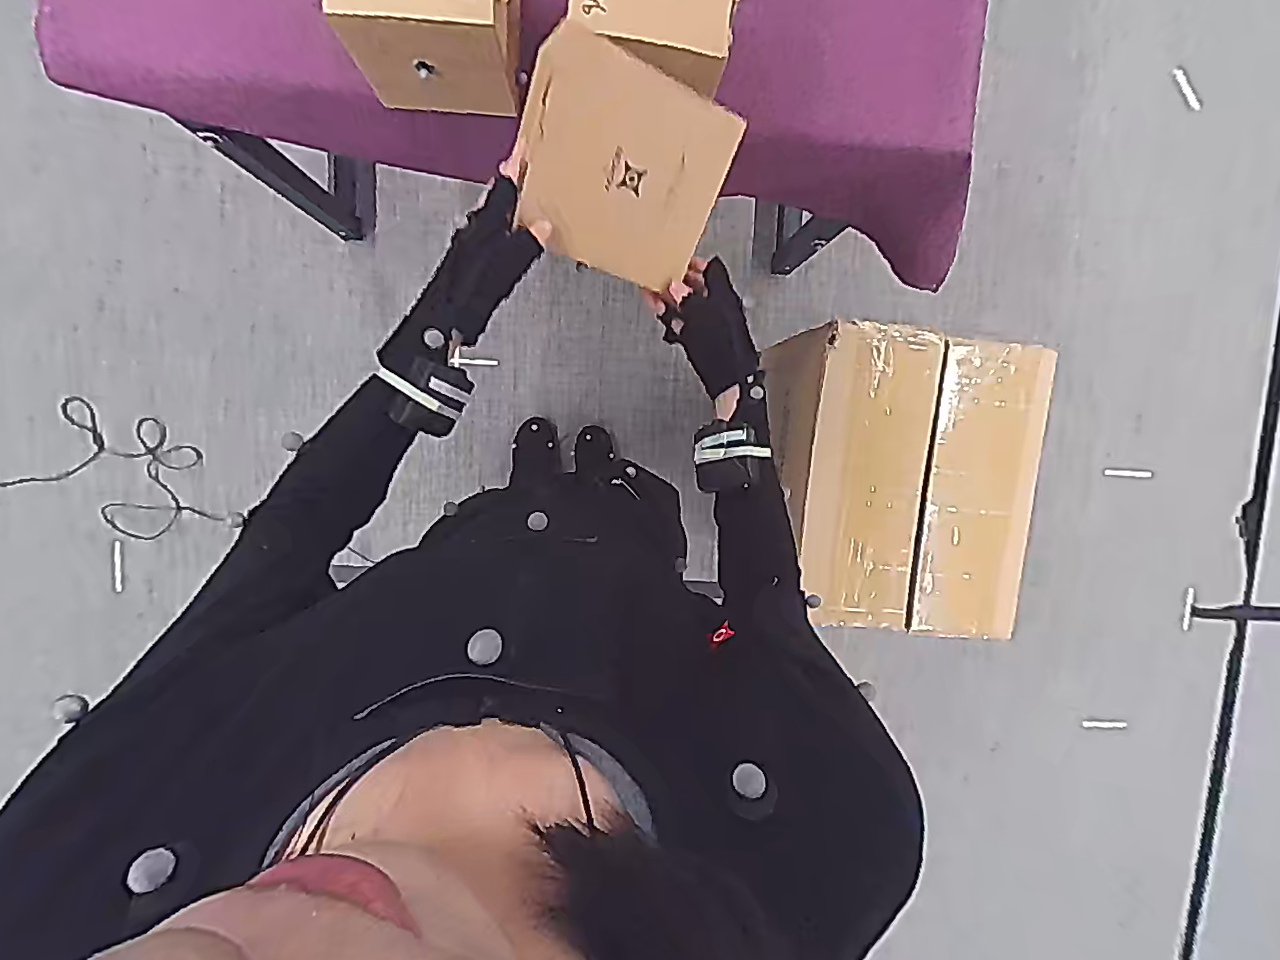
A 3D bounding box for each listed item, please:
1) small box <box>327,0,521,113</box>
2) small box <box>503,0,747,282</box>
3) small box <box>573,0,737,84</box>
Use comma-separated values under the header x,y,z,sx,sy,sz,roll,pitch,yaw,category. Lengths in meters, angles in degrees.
x,y,z,sx,sy,sz,roll,pitch,yaw,category
-0.236,-0.561,0.629,0.179,0.176,0.168,1,95,-4,small box
-0.032,-0.322,0.539,0.179,0.176,0.168,11,118,-24,small box
0.014,-0.552,0.650,0.179,0.176,0.168,7,94,-6,small box
